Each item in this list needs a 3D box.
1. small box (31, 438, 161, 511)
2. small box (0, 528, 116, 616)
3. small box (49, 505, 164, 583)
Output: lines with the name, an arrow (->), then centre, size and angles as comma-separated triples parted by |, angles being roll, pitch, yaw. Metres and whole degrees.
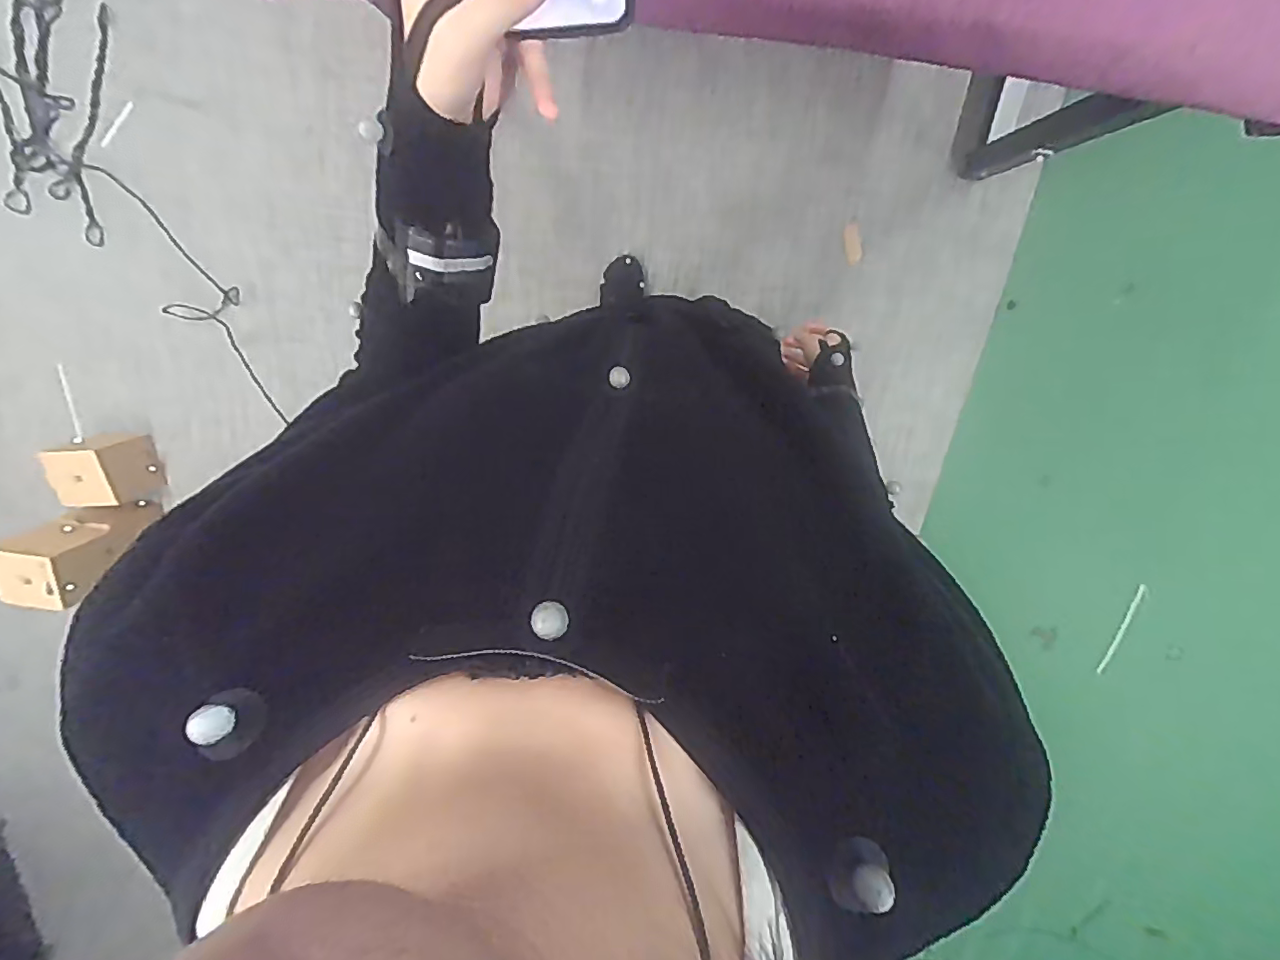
small box -> -1.550, -0.019, 1.553 | 0.179, 0.176, 0.168 | -2, 110, 4
small box -> -1.605, 0.244, 1.476 | 0.179, 0.176, 0.168 | 9, 110, 2
small box -> -1.595, 0.183, 1.628 | 0.168, 0.176, 0.179 | 8, 110, 2
